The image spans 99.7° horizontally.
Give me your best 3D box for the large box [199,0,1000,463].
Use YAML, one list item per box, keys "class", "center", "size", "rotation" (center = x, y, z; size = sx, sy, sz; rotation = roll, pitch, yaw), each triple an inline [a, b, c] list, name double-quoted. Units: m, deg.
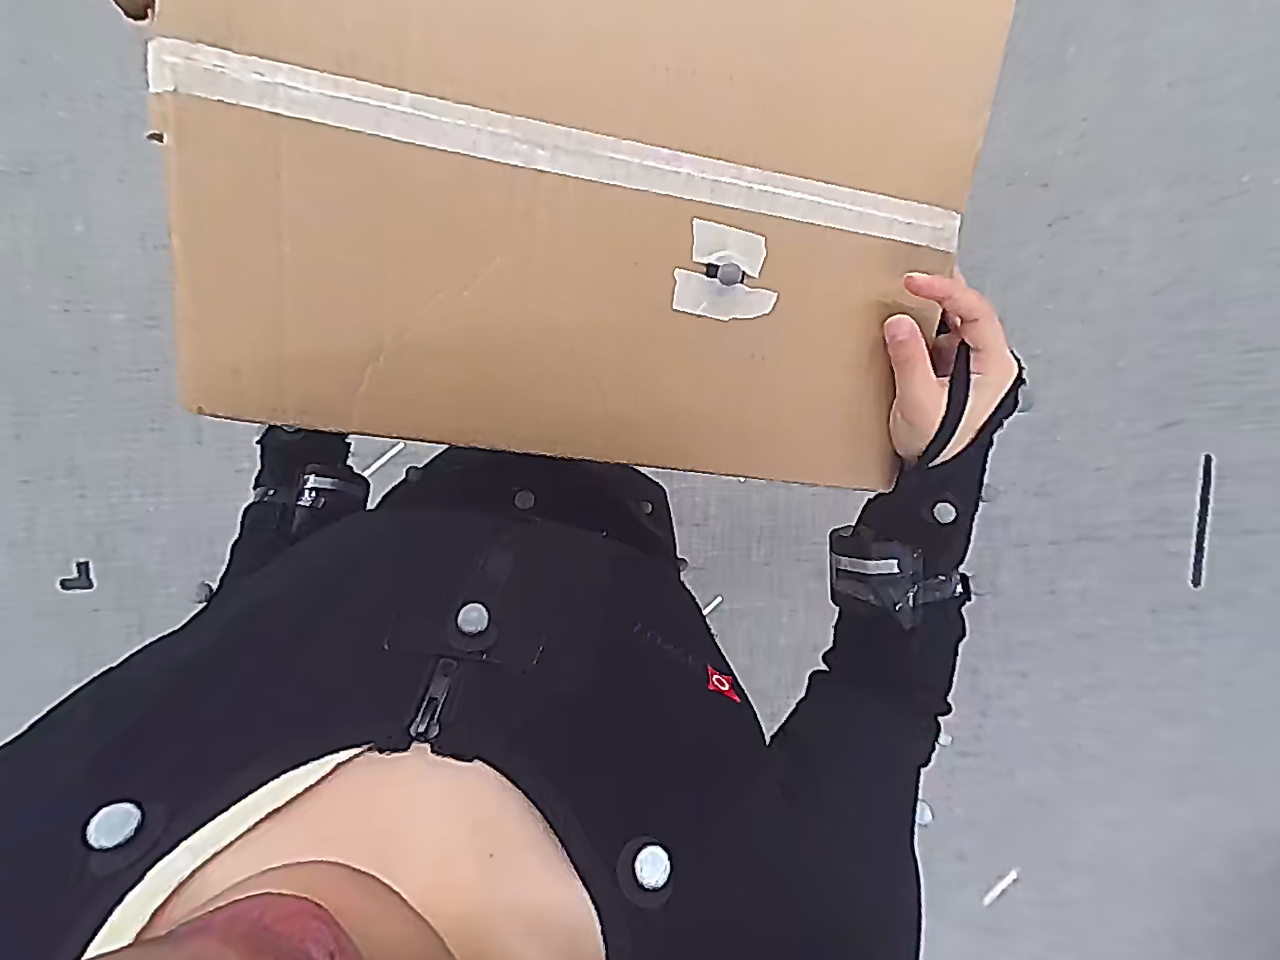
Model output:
- class: "large box"
  center: [-0.036, -0.210, 0.428]
  size: [0.408, 0.320, 0.320]
  rotation: [6, 104, -12]
